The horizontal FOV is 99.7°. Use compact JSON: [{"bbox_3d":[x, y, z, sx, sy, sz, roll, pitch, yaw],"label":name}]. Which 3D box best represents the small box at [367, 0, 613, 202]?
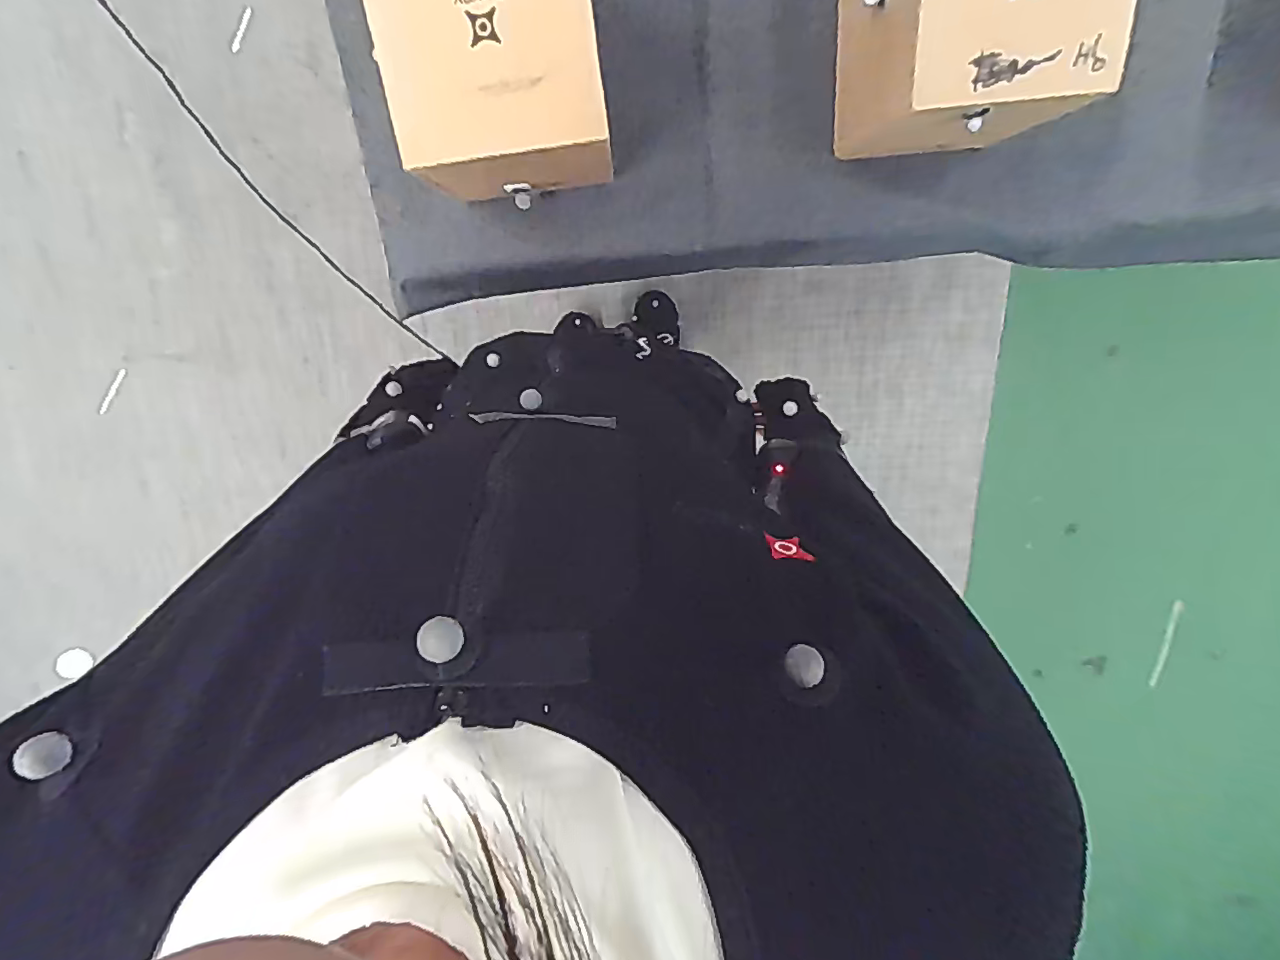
[{"bbox_3d":[-0.118,-0.364,0.475,0.168,0.176,0.179,-9,109,2],"label":"small box"}]

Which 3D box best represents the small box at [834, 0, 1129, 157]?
[{"bbox_3d":[0.280,-0.408,0.473,0.168,0.176,0.179,-5,108,1],"label":"small box"}]
